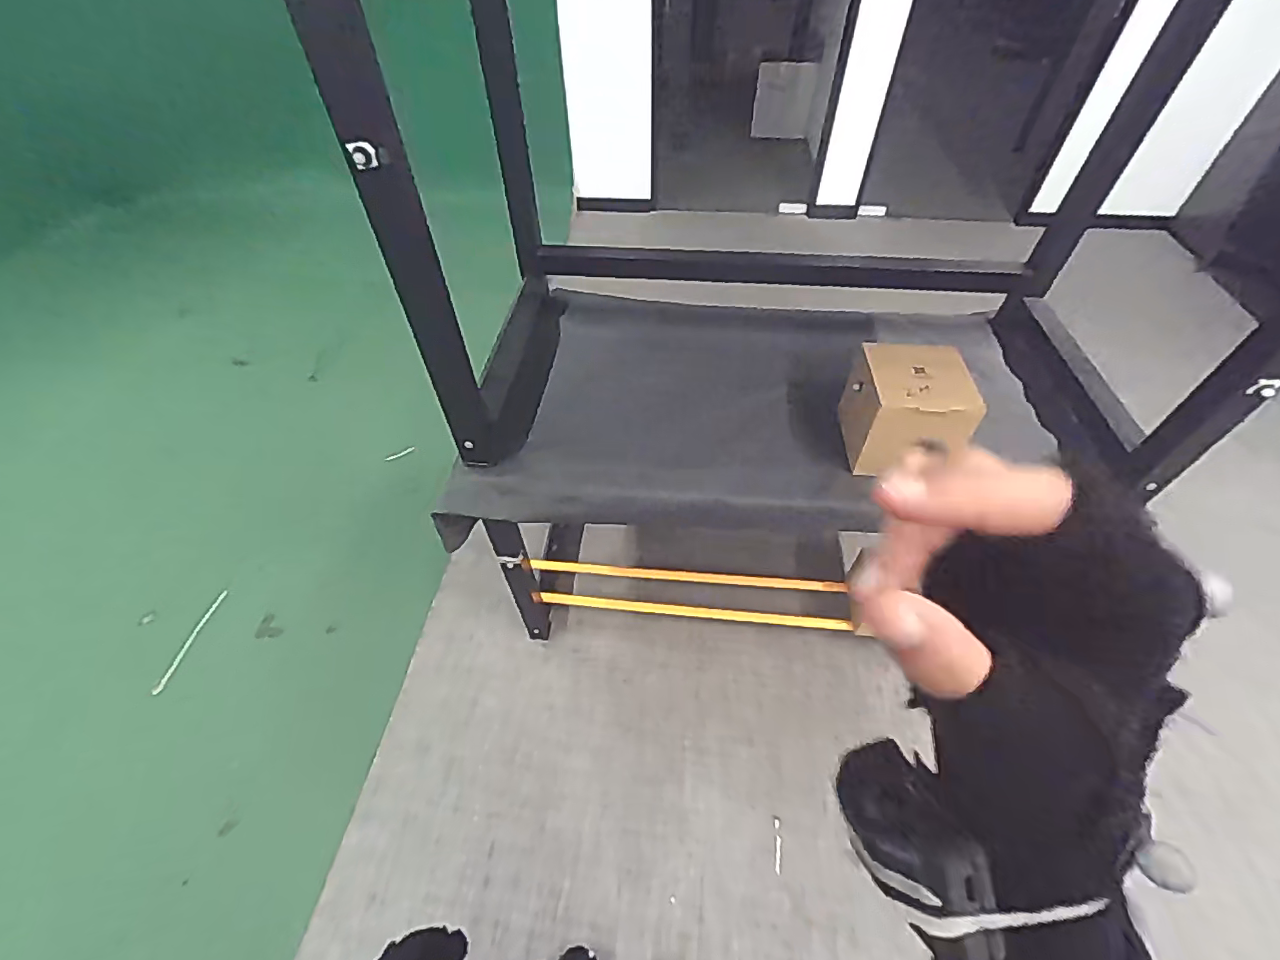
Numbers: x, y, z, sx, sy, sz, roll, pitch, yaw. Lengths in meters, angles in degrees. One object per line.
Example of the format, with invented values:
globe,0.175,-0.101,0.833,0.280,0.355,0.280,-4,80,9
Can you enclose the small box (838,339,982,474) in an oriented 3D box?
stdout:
small box,0.471,-0.133,0.978,0.168,0.176,0.179,3,49,4
